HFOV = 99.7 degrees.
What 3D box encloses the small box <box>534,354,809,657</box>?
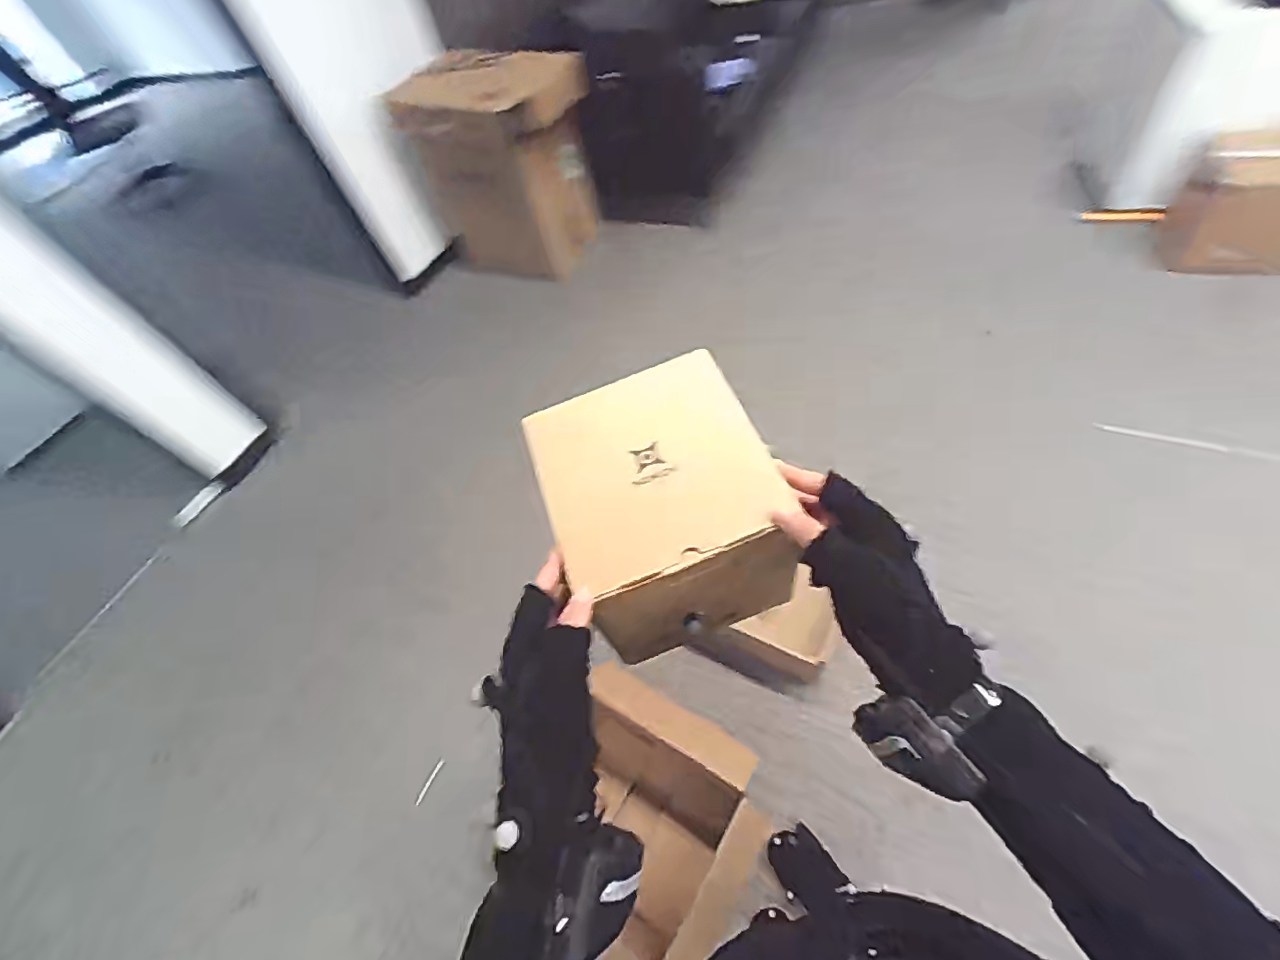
[{"bbox_3d":[0.025,0.029,0.473,0.168,0.176,0.179,-21,58,-1],"label":"small box"}]
